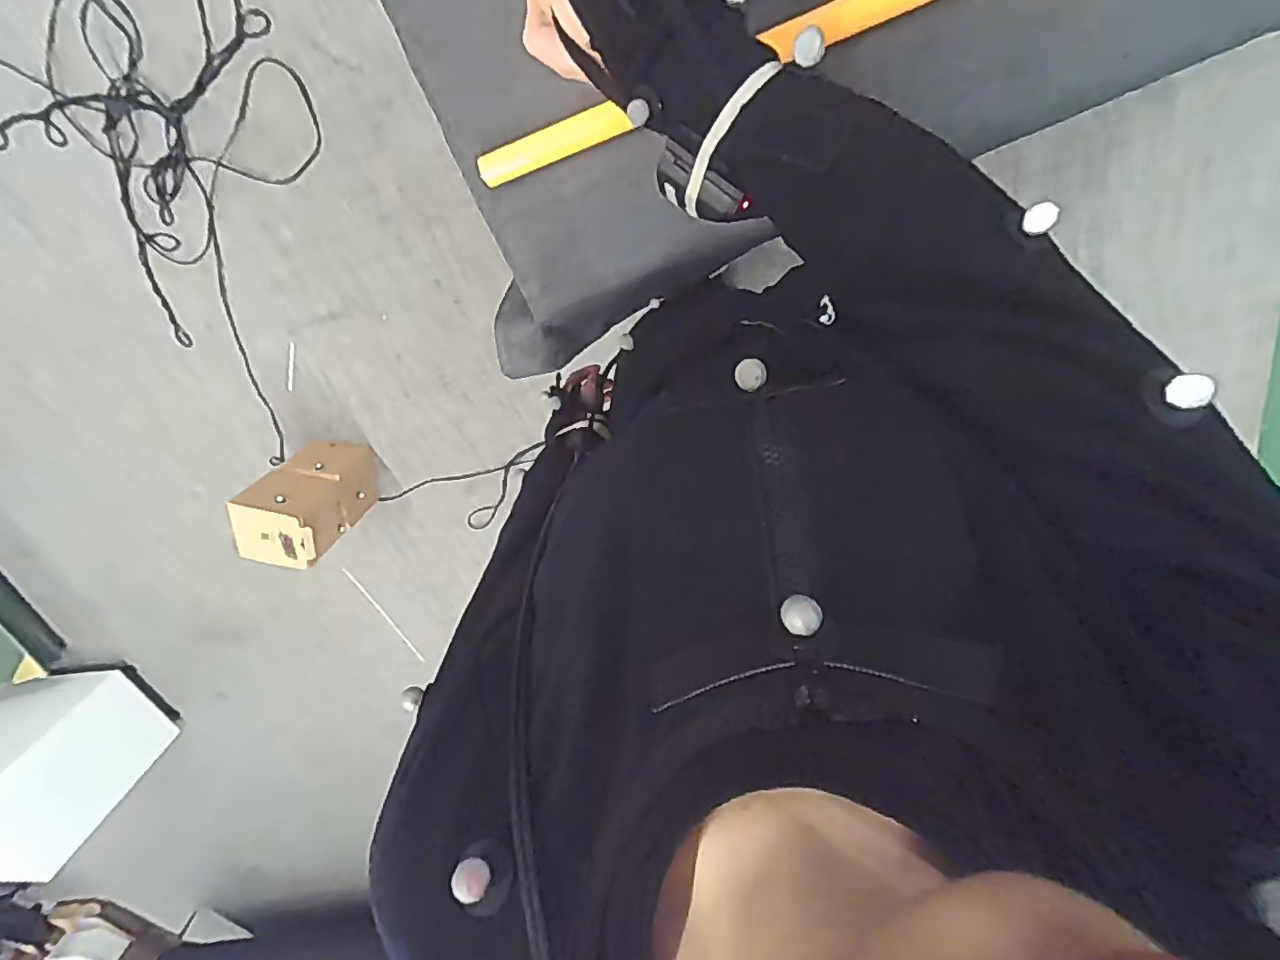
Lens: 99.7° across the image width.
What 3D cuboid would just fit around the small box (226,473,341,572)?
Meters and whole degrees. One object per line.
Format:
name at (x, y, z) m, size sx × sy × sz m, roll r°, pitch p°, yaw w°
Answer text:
small box at (-0.876, 0.101, 1.352) m, size 0.179 × 0.176 × 0.168 m, roll 12°, pitch 120°, yaw 0°

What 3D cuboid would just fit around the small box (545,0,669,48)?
small box at (-0.019, -0.406, 0.318) m, size 0.168 × 0.176 × 0.179 m, roll -25°, pitch 116°, yaw 19°

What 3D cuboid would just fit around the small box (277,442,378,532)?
small box at (-0.851, 0.016, 1.492) m, size 0.168 × 0.176 × 0.179 m, roll 7°, pitch 120°, yaw 2°
